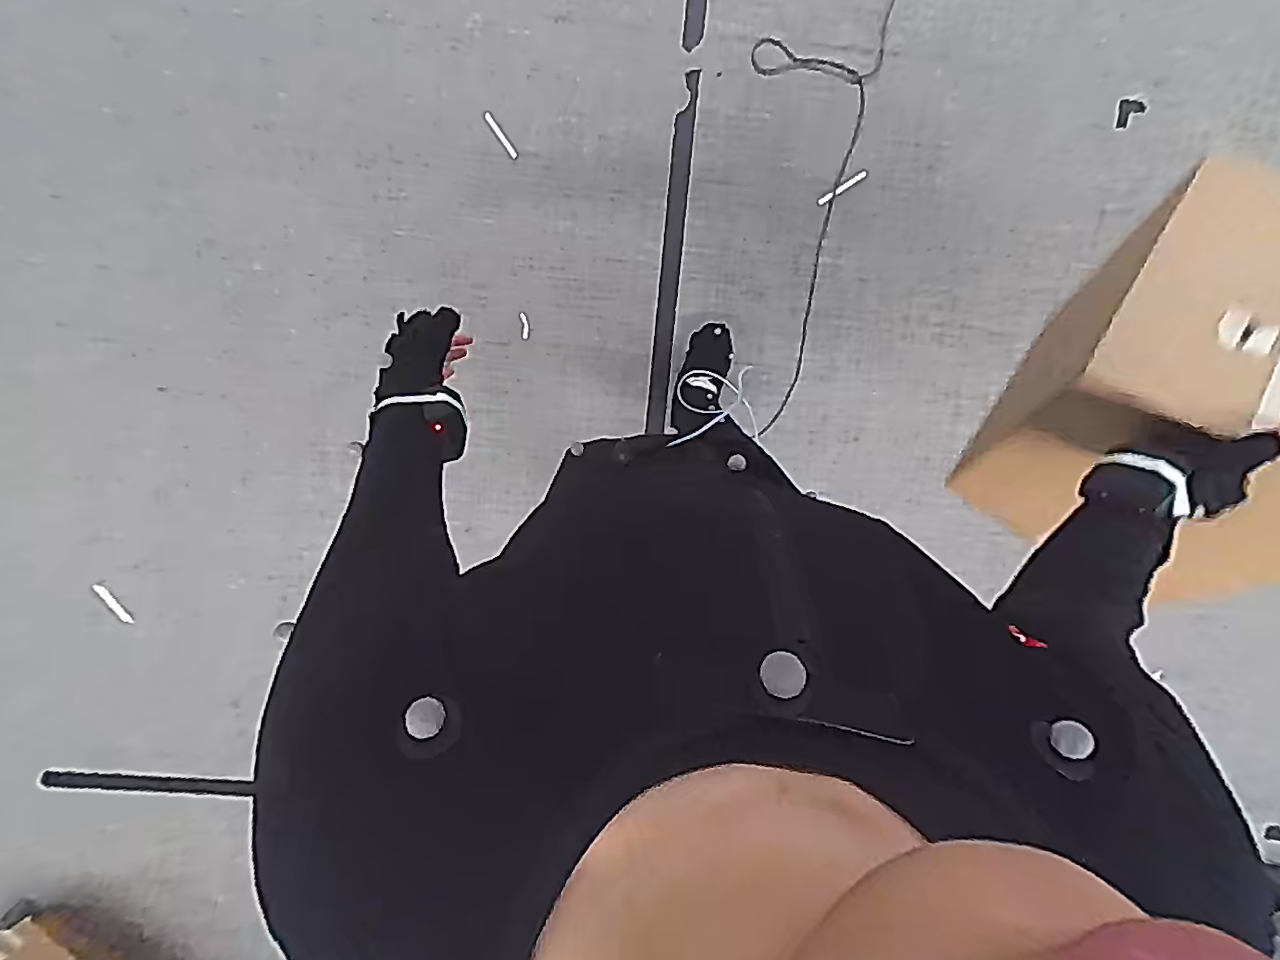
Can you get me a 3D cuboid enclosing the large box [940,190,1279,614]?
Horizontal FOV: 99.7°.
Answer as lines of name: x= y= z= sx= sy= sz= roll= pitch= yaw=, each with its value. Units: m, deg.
large box: x=0.699 y=-0.093 z=0.735 sx=0.320 sy=0.320 sz=0.408 roll=35 pitch=71 yaw=18
